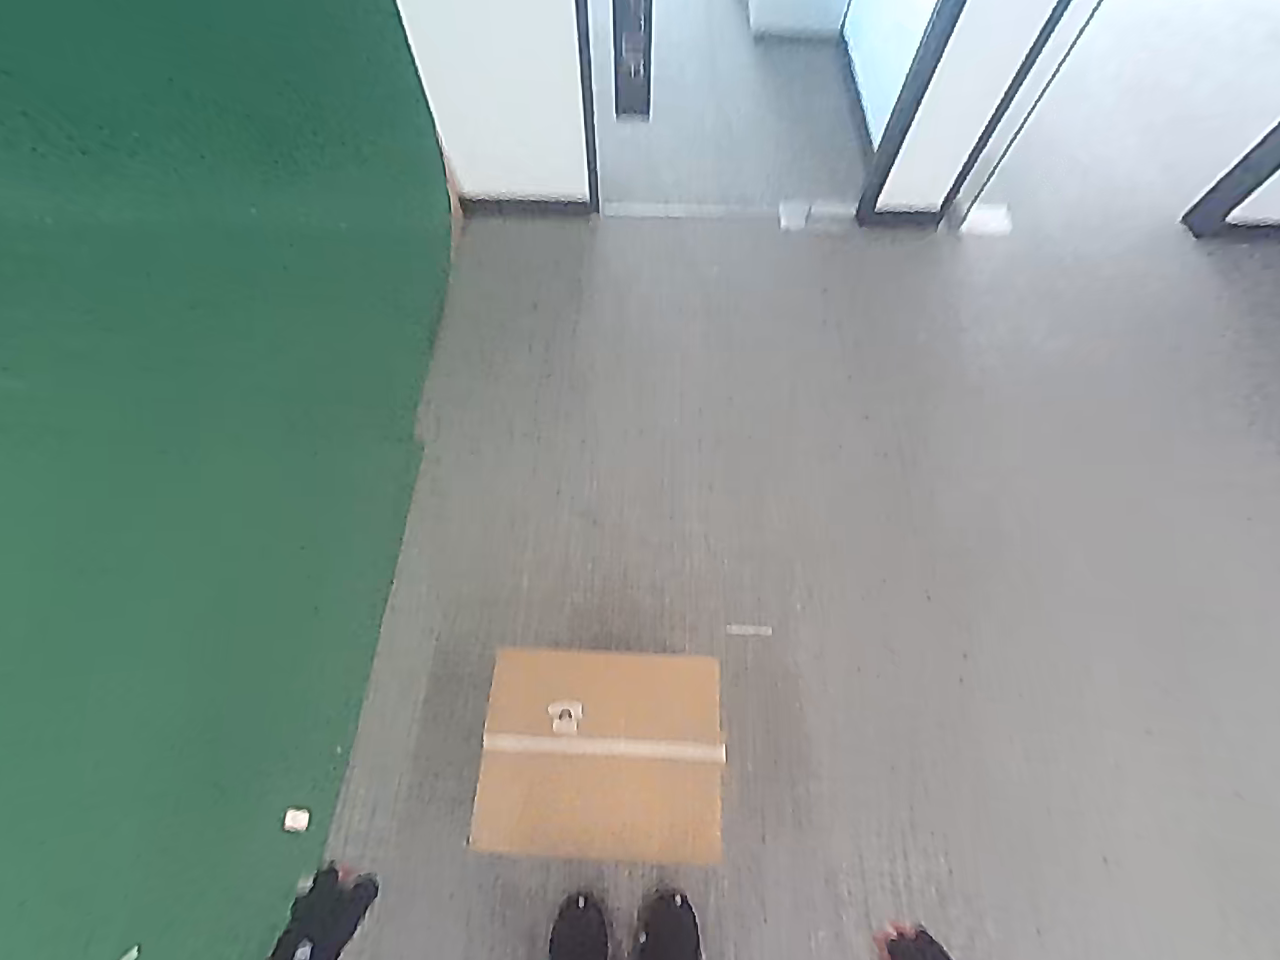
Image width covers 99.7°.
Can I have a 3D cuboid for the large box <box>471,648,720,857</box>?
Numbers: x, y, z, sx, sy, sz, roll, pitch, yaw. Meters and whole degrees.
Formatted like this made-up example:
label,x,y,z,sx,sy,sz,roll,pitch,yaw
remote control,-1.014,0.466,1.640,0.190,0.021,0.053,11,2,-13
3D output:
label,x,y,z,sx,sy,sz,roll,pitch,yaw
large box,-0.066,0.516,1.055,0.408,0.320,0.320,3,63,1
